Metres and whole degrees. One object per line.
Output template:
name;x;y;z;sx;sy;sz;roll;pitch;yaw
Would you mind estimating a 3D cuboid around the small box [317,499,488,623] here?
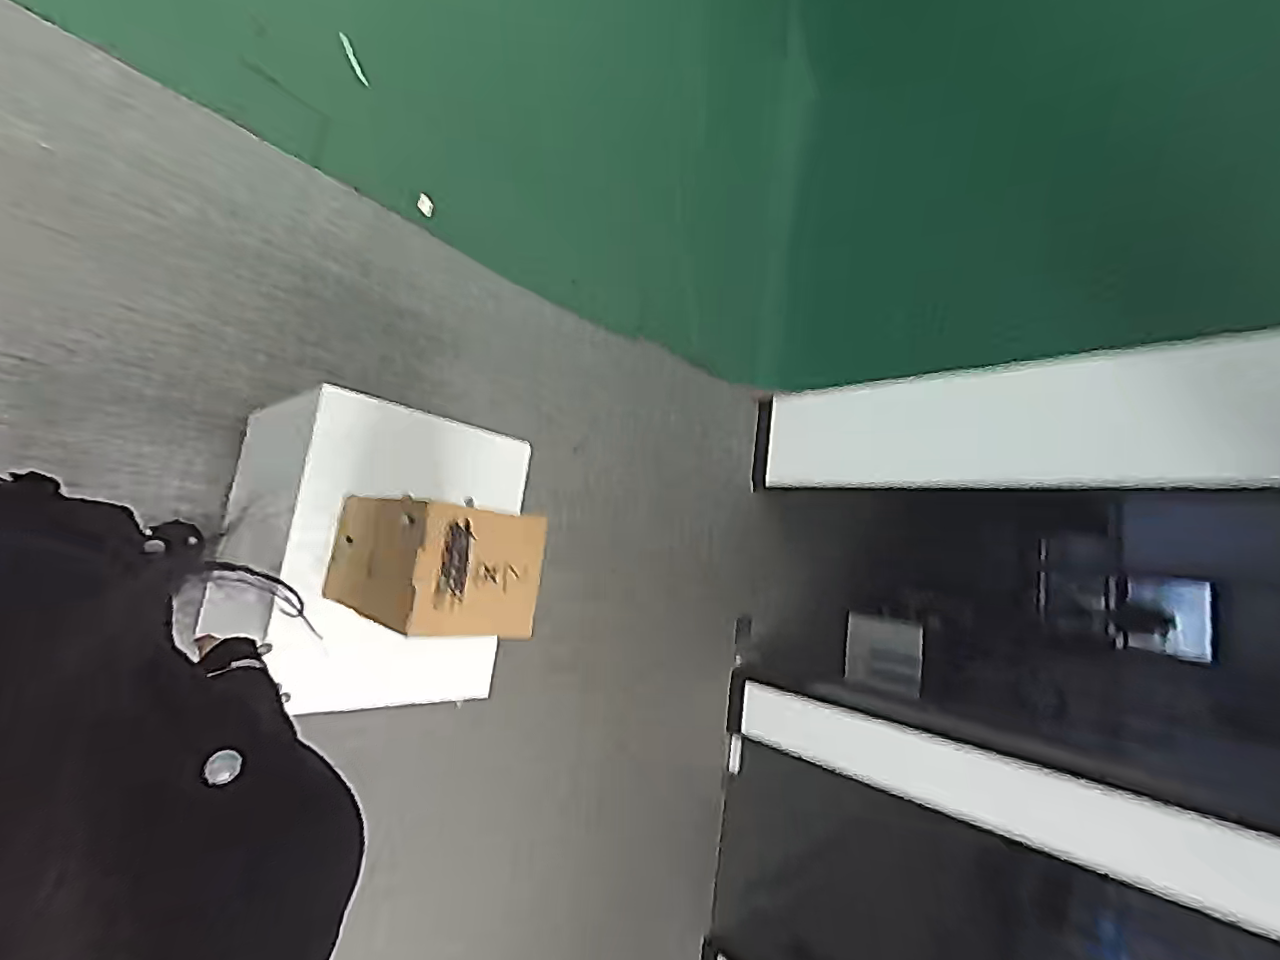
small box;-0.373;0.125;0.853;0.179;0.176;0.168;18;76;-46
